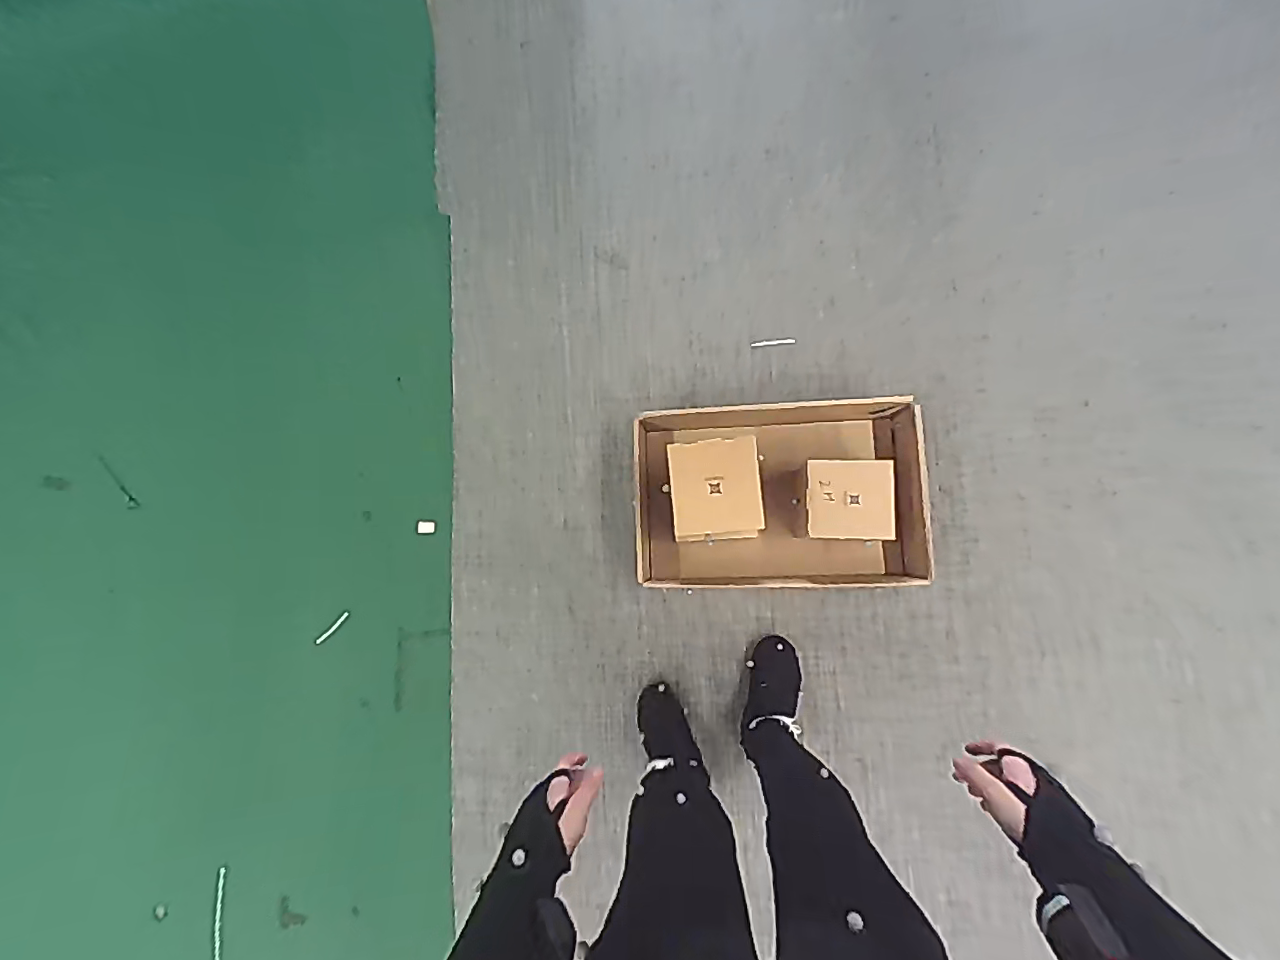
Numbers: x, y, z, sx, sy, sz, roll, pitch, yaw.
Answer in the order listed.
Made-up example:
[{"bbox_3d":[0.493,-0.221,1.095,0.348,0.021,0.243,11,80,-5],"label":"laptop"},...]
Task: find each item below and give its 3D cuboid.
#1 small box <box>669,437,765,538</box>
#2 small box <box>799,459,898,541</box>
[{"bbox_3d":[0.152,0.021,1.074,0.168,0.176,0.179,-6,82,7],"label":"small box"},{"bbox_3d":[0.453,0.047,1.191,0.179,0.176,0.168,1,84,11],"label":"small box"}]
